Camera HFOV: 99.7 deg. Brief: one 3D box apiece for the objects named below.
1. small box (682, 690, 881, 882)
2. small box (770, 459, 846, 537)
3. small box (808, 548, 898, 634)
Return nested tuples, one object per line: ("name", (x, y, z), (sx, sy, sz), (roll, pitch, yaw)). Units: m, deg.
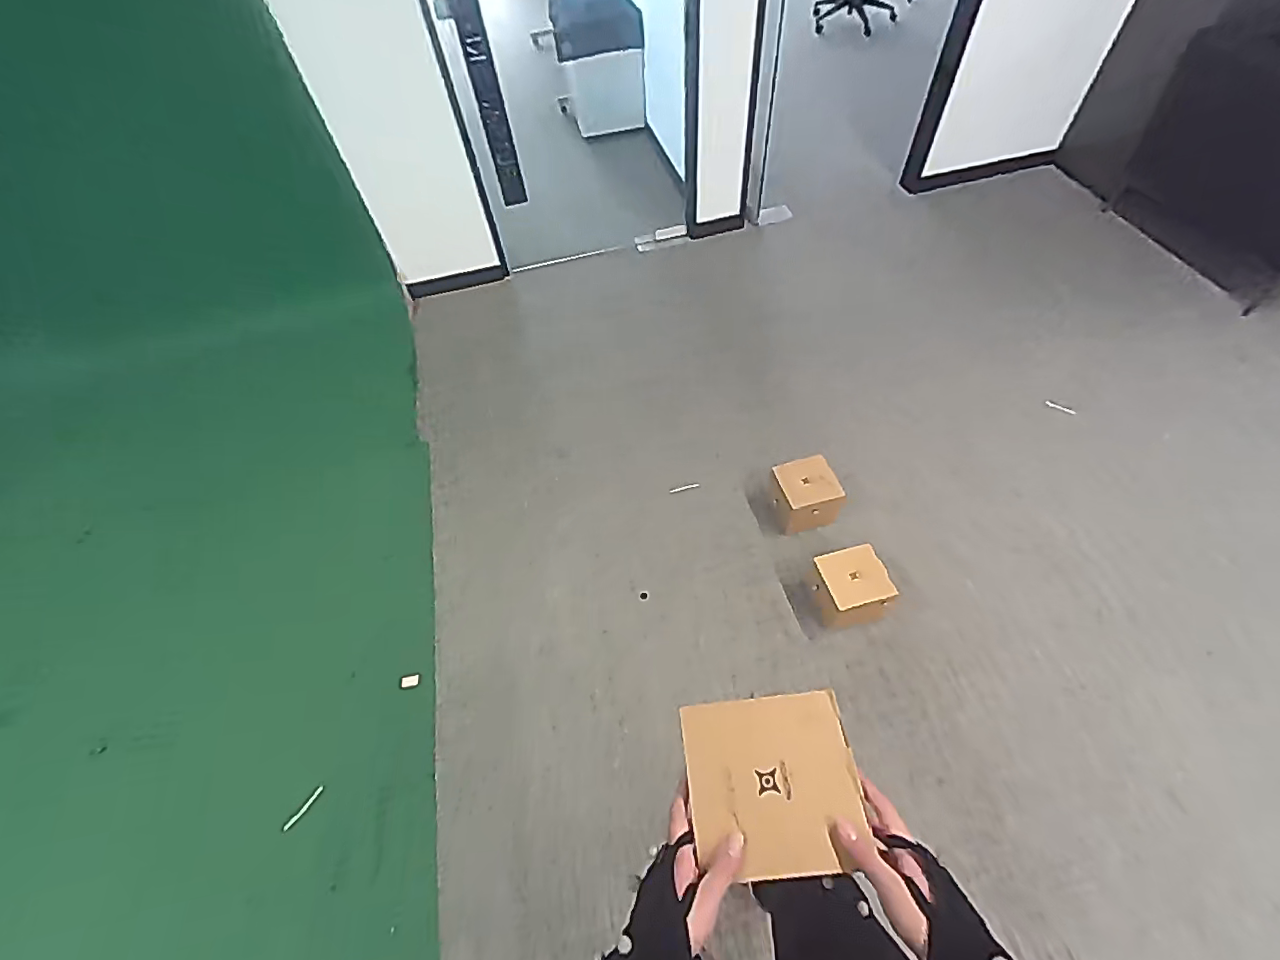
("small box", (0.147, 0.351, 0.621), (0.179, 0.176, 0.168), (-8, 55, 5))
("small box", (0.526, 0.064, 1.731), (0.179, 0.176, 0.168), (-14, 55, -5))
("small box", (0.597, 0.322, 1.548), (0.179, 0.176, 0.168), (-14, 55, -6))
